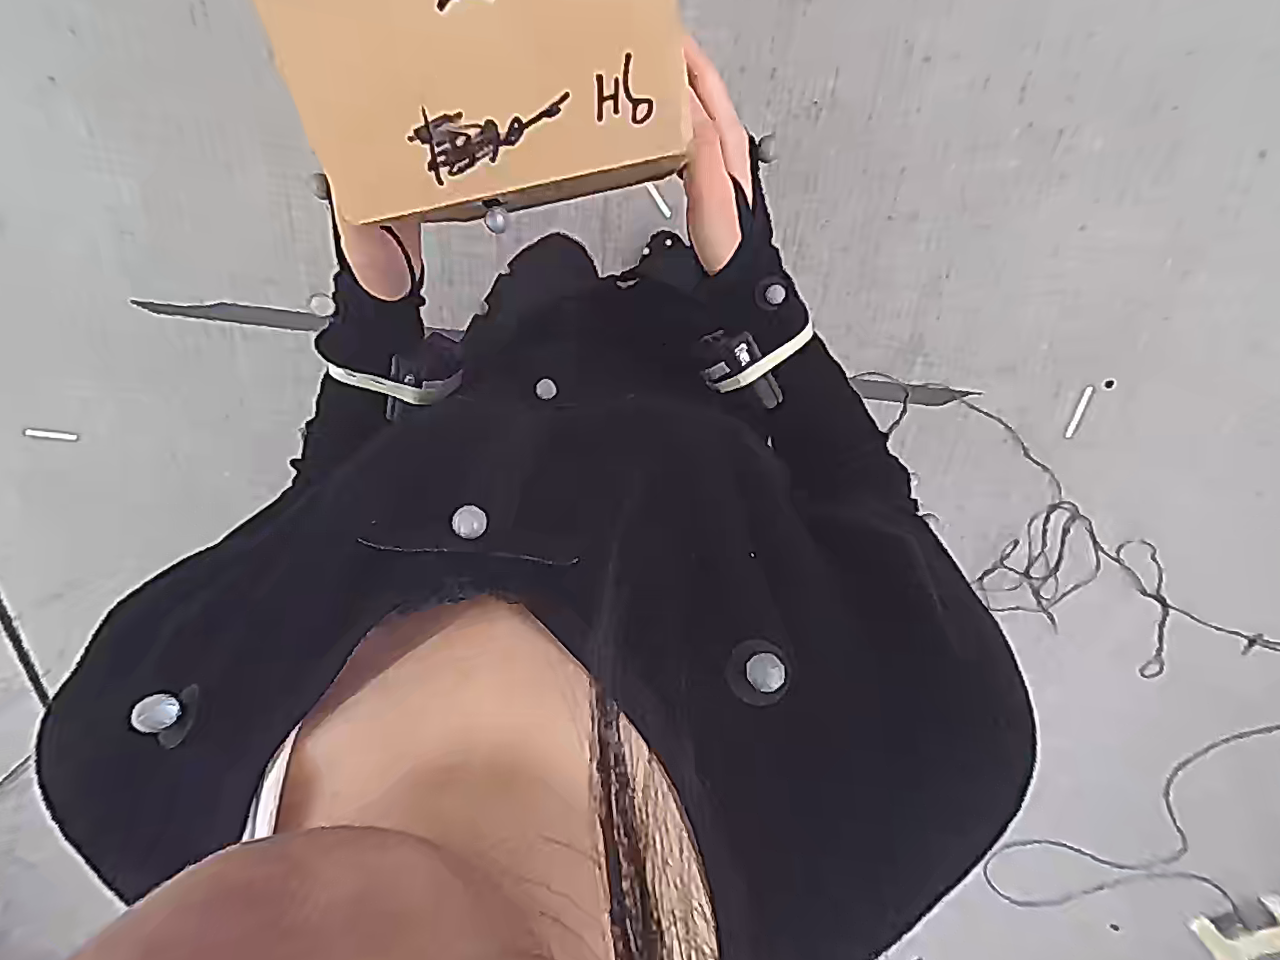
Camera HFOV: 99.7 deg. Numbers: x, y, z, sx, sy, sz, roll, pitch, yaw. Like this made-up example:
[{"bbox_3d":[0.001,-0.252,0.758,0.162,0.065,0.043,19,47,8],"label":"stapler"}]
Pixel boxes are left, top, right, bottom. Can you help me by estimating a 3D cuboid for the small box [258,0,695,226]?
[{"bbox_3d":[-0.070,-0.239,0.278,0.168,0.176,0.179,-10,115,6],"label":"small box"}]
